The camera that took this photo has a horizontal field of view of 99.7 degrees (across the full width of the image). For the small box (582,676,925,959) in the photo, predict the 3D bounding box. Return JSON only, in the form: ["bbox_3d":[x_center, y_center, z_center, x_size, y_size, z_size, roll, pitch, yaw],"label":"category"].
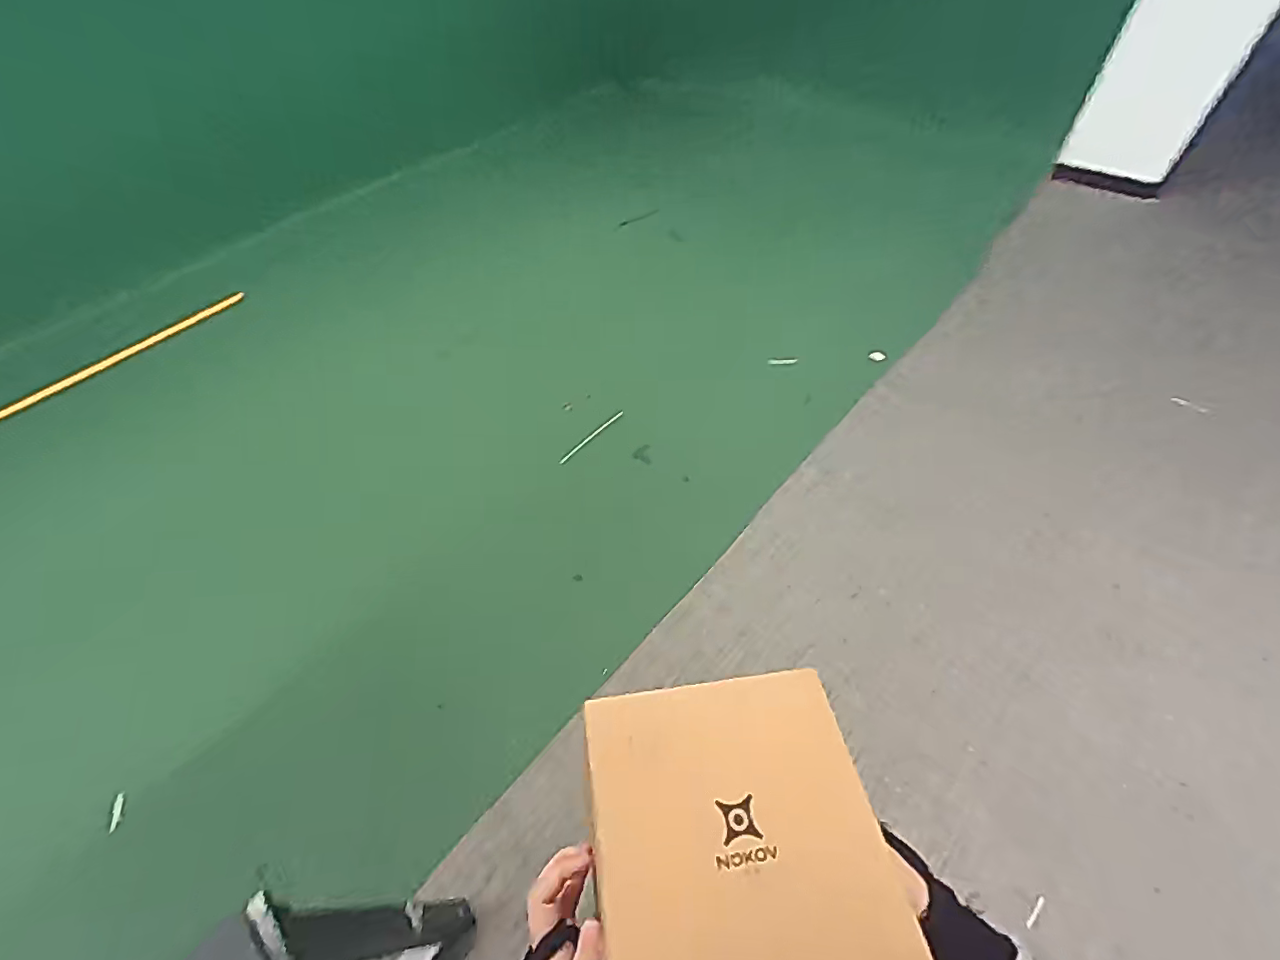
[{"bbox_3d":[0.050,0.262,0.370,0.168,0.176,0.179,-4,47,-10],"label":"small box"}]
